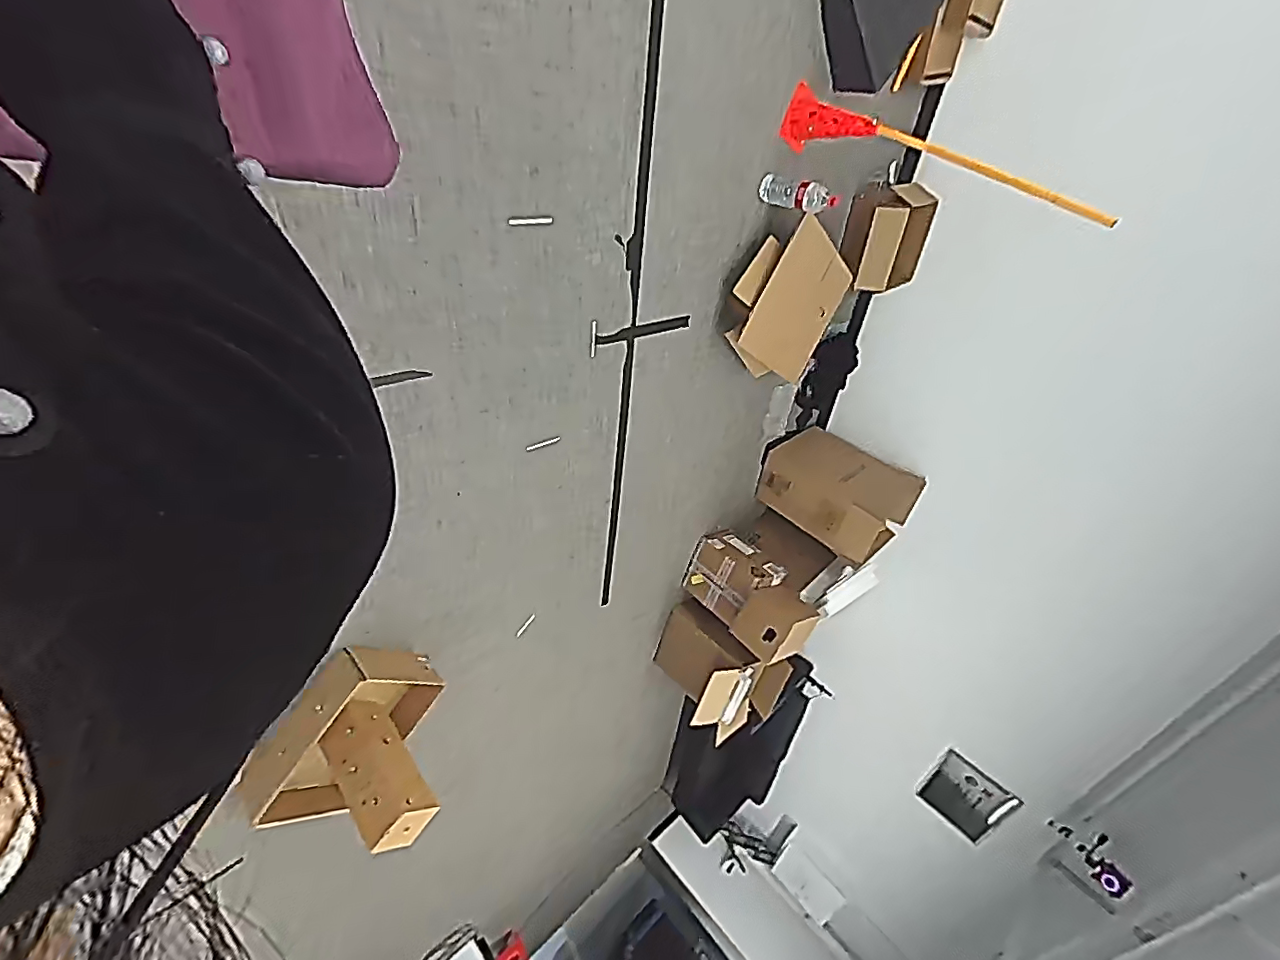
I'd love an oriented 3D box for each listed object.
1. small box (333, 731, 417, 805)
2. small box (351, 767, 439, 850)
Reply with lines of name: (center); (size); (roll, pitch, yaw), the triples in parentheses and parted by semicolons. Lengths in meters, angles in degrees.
small box: (-0.941, 1.013, 1.913); (0.168, 0.176, 0.179); (-50, 147, -5)
small box: (-0.830, 1.101, 1.831); (0.168, 0.176, 0.179); (-51, 147, -4)
